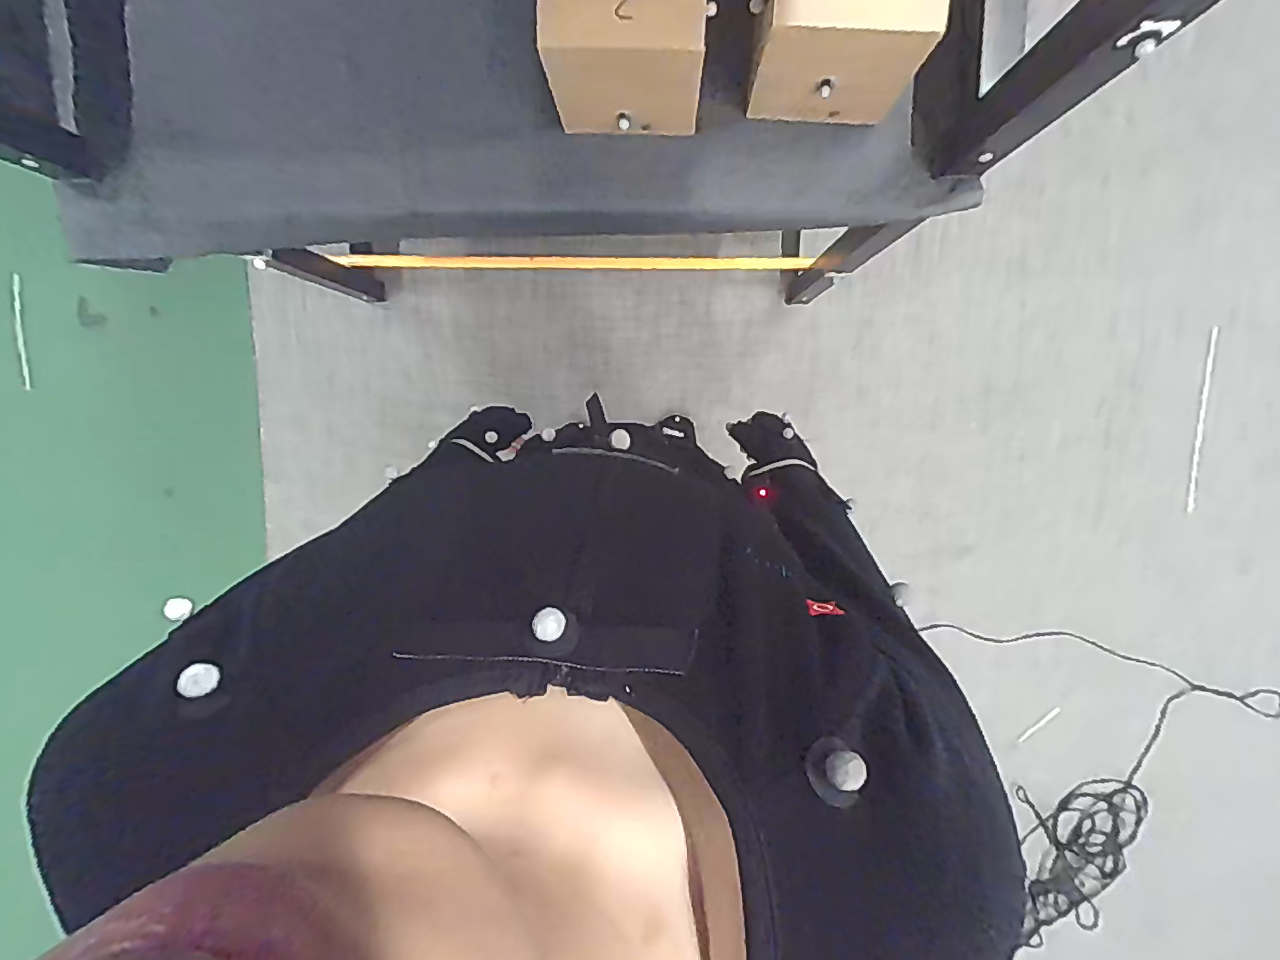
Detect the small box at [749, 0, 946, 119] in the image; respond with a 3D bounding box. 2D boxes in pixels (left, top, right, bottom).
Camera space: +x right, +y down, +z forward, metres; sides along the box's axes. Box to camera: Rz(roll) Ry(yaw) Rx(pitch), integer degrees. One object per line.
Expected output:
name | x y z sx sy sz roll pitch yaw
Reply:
small box | 0.217 -0.526 0.585 0.168 0.176 0.179 4 97 1
